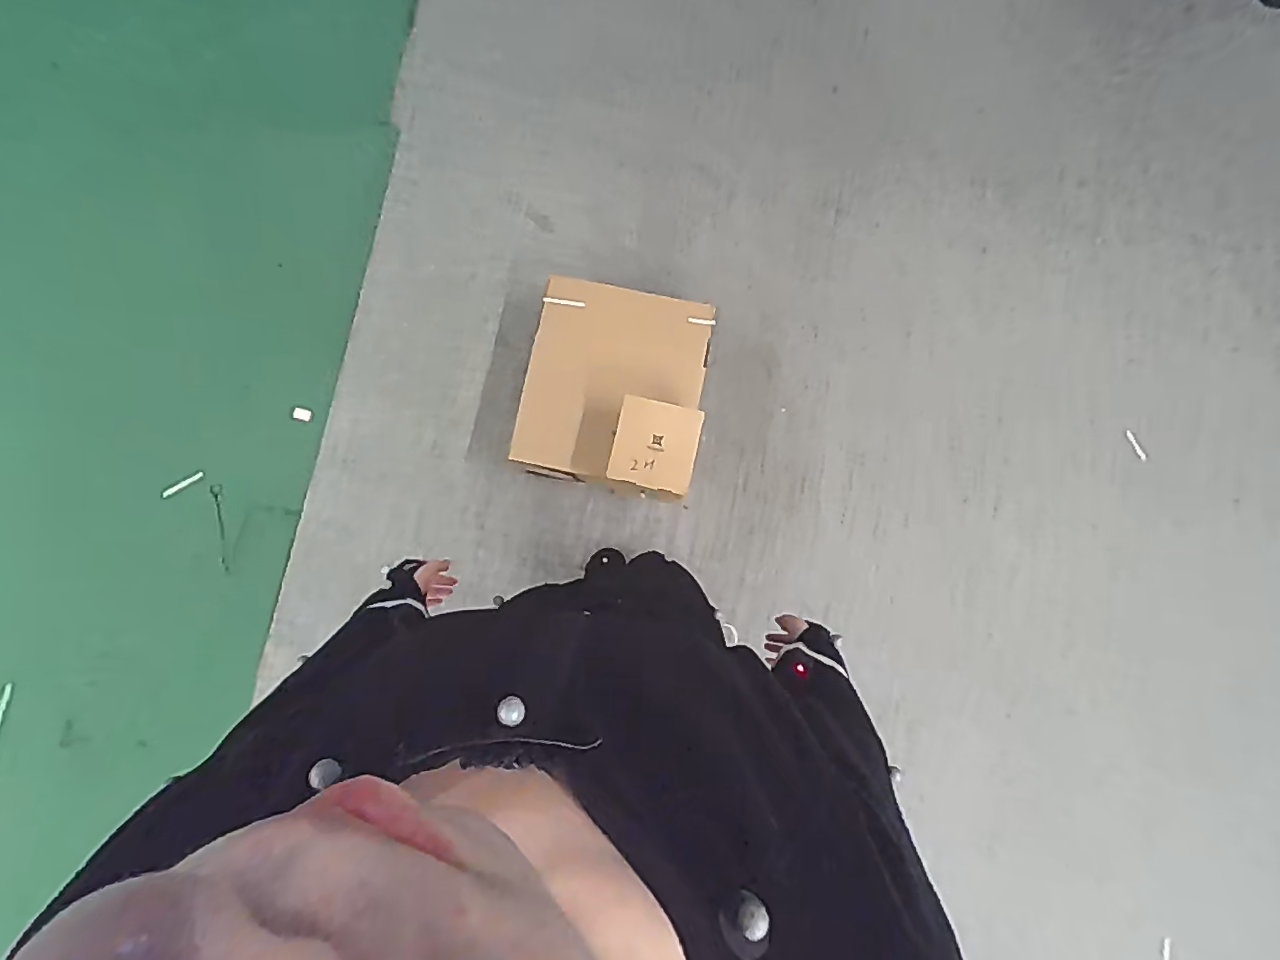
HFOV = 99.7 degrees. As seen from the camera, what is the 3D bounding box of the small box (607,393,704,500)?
[{"bbox_3d":[0.027,-0.064,1.147,0.168,0.176,0.179,13,84,0],"label":"small box"}]
